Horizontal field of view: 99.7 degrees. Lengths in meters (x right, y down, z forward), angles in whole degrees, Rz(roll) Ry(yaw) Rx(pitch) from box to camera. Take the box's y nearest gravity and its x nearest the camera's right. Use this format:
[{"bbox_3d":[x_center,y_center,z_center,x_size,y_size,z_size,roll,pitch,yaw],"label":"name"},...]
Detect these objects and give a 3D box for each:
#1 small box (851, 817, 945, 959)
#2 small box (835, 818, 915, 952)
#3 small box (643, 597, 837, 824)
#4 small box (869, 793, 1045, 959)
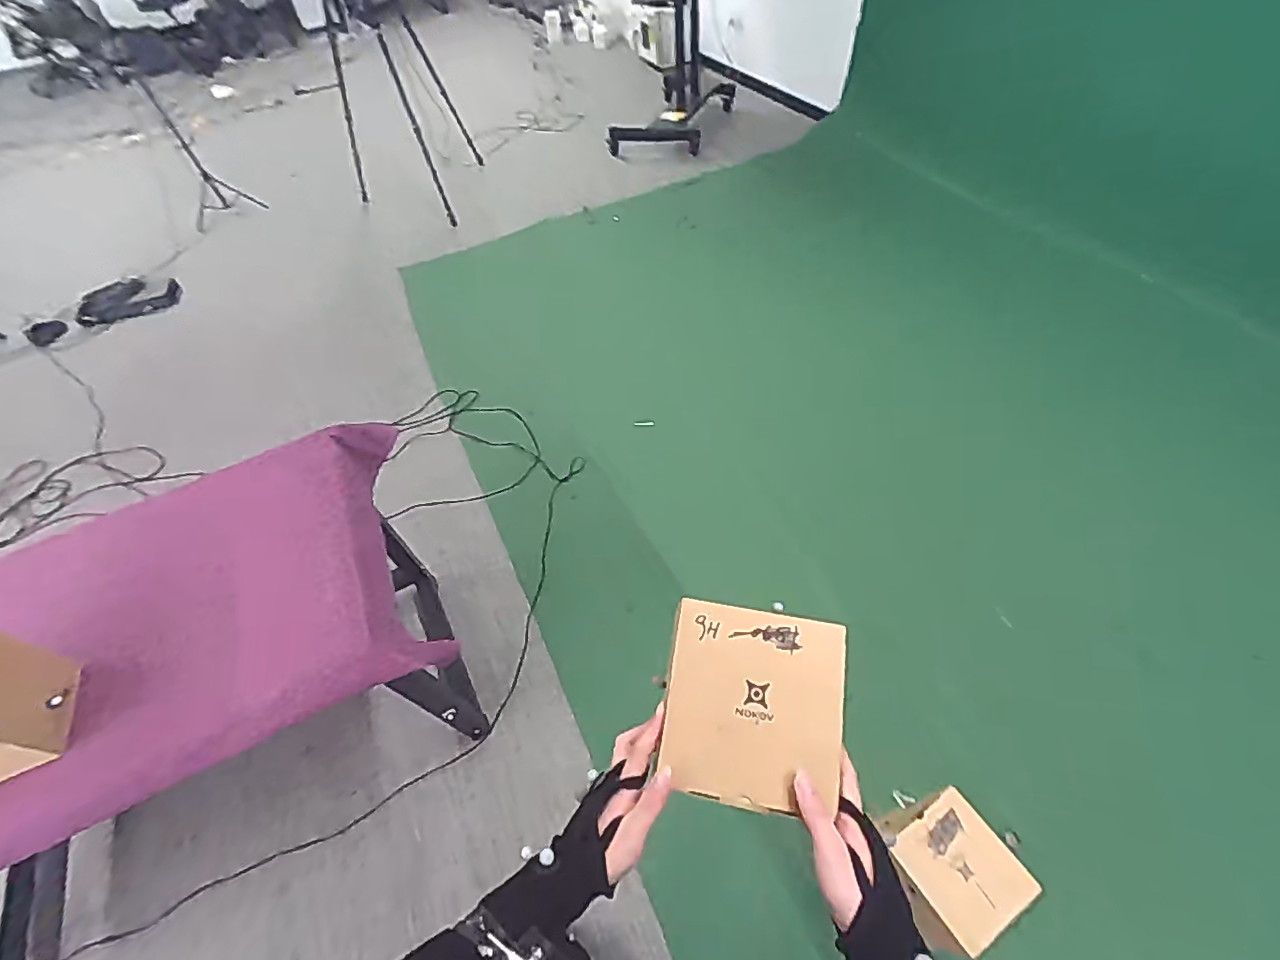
[{"bbox_3d":[0.550,0.789,1.066,0.168,0.176,0.179,-26,54,-14],"label":"small box"},{"bbox_3d":[0.564,0.887,1.195,0.168,0.176,0.179,-27,55,-15],"label":"small box"},{"bbox_3d":[0.101,0.237,0.587,0.168,0.176,0.179,9,71,4],"label":"small box"},{"bbox_3d":[0.532,0.687,0.940,0.168,0.176,0.179,-28,55,-14],"label":"small box"}]
